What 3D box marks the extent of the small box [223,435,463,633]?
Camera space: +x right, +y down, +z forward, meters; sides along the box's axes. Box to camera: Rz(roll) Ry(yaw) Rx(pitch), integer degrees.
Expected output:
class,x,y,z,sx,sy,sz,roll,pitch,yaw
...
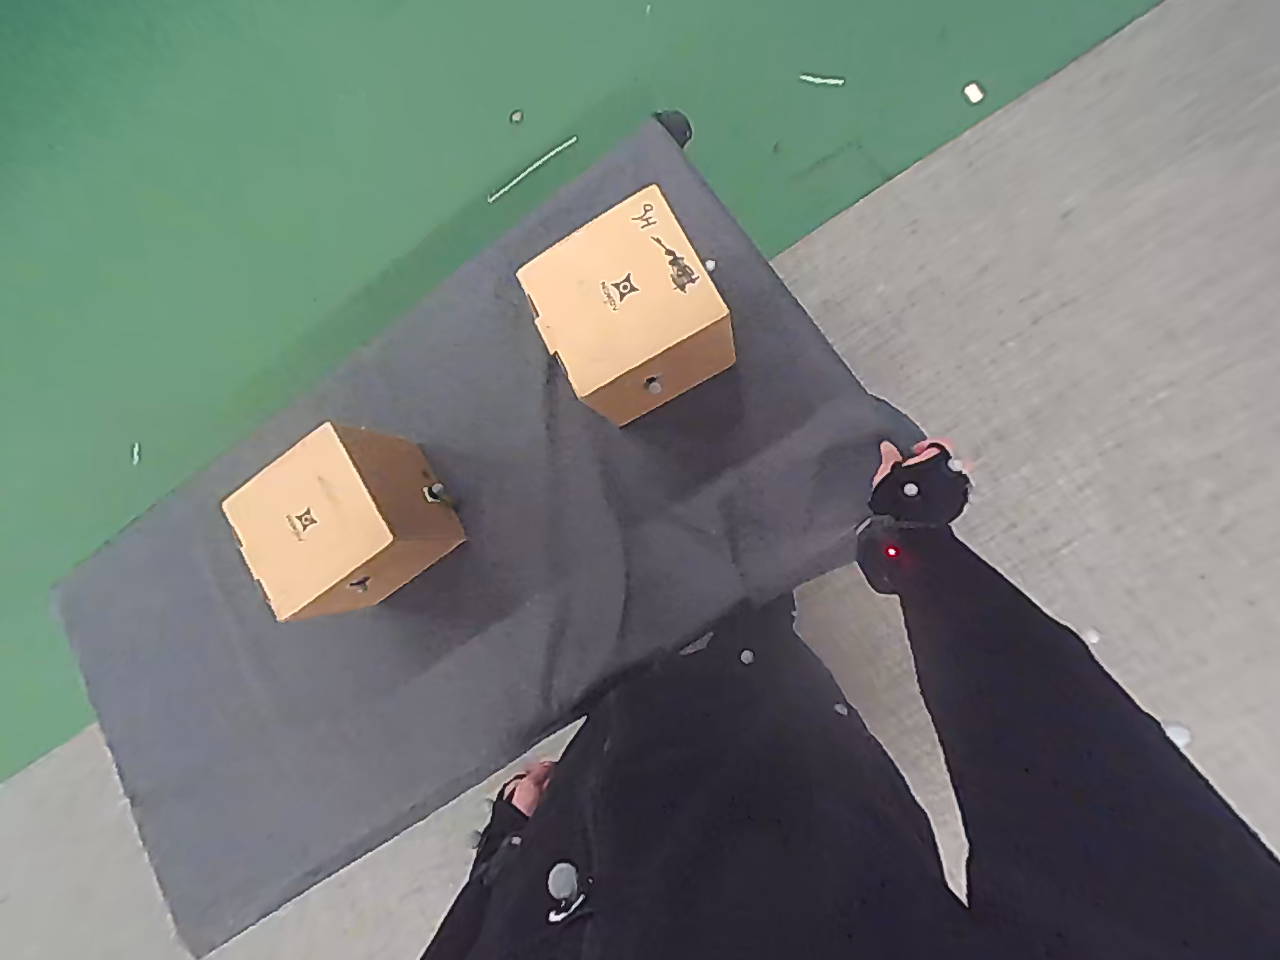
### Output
class,x,y,z,sx,sy,sz,roll,pitch,yaw
small box,-0.366,0.070,0.693,0.179,0.176,0.168,-35,80,5

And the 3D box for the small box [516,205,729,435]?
class,x,y,z,sx,sy,sz,roll,pitch,yaw
small box,-0.010,-0.170,0.639,0.179,0.176,0.168,-29,80,9
